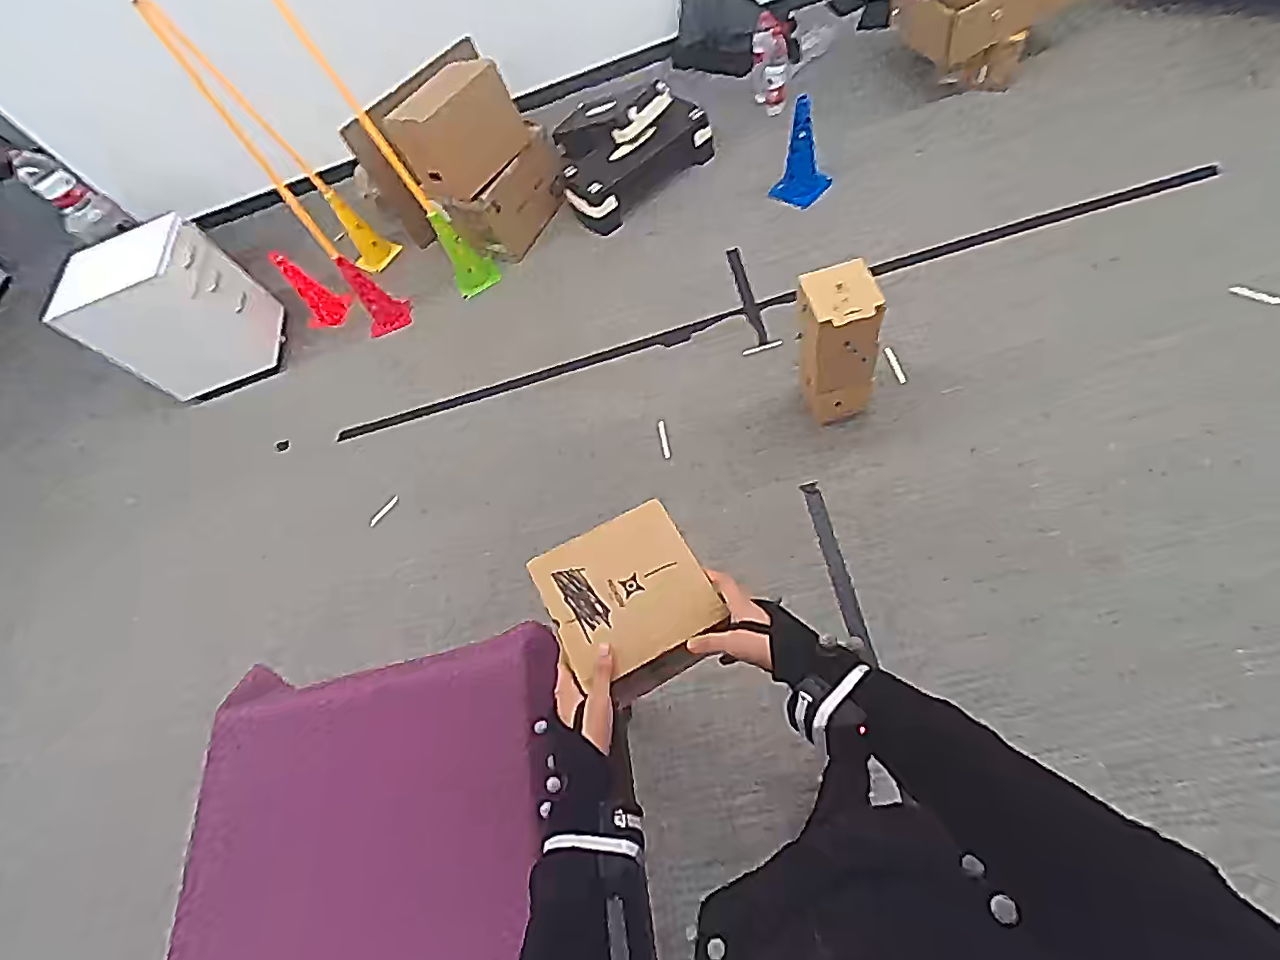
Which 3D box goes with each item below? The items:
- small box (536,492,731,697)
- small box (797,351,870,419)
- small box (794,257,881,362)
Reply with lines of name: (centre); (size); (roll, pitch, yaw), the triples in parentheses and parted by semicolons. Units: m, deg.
small box: (0.002, 0.150, 0.670); (0.179, 0.176, 0.168); (-29, 63, -5)
small box: (0.607, -0.312, 1.712); (0.168, 0.176, 0.179); (-18, 60, 6)
small box: (0.510, -0.445, 1.424); (0.168, 0.176, 0.179); (-15, 61, 7)
